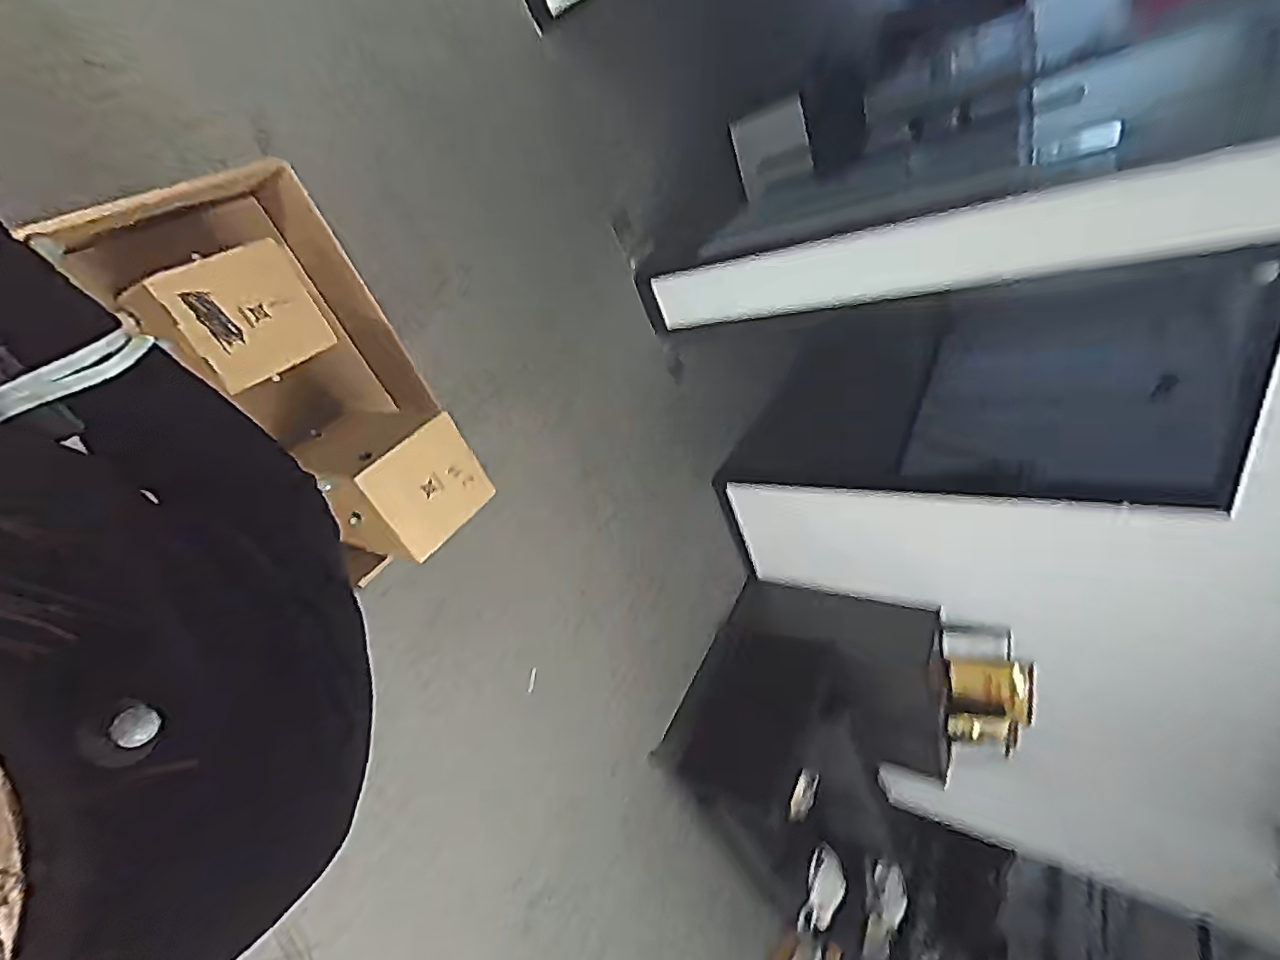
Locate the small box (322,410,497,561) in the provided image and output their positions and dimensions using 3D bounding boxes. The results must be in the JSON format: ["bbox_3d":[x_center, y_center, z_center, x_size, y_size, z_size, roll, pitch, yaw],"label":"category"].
[{"bbox_3d":[-0.373,0.003,0.867,0.179,0.176,0.168,-49,130,-37],"label":"small box"}]
